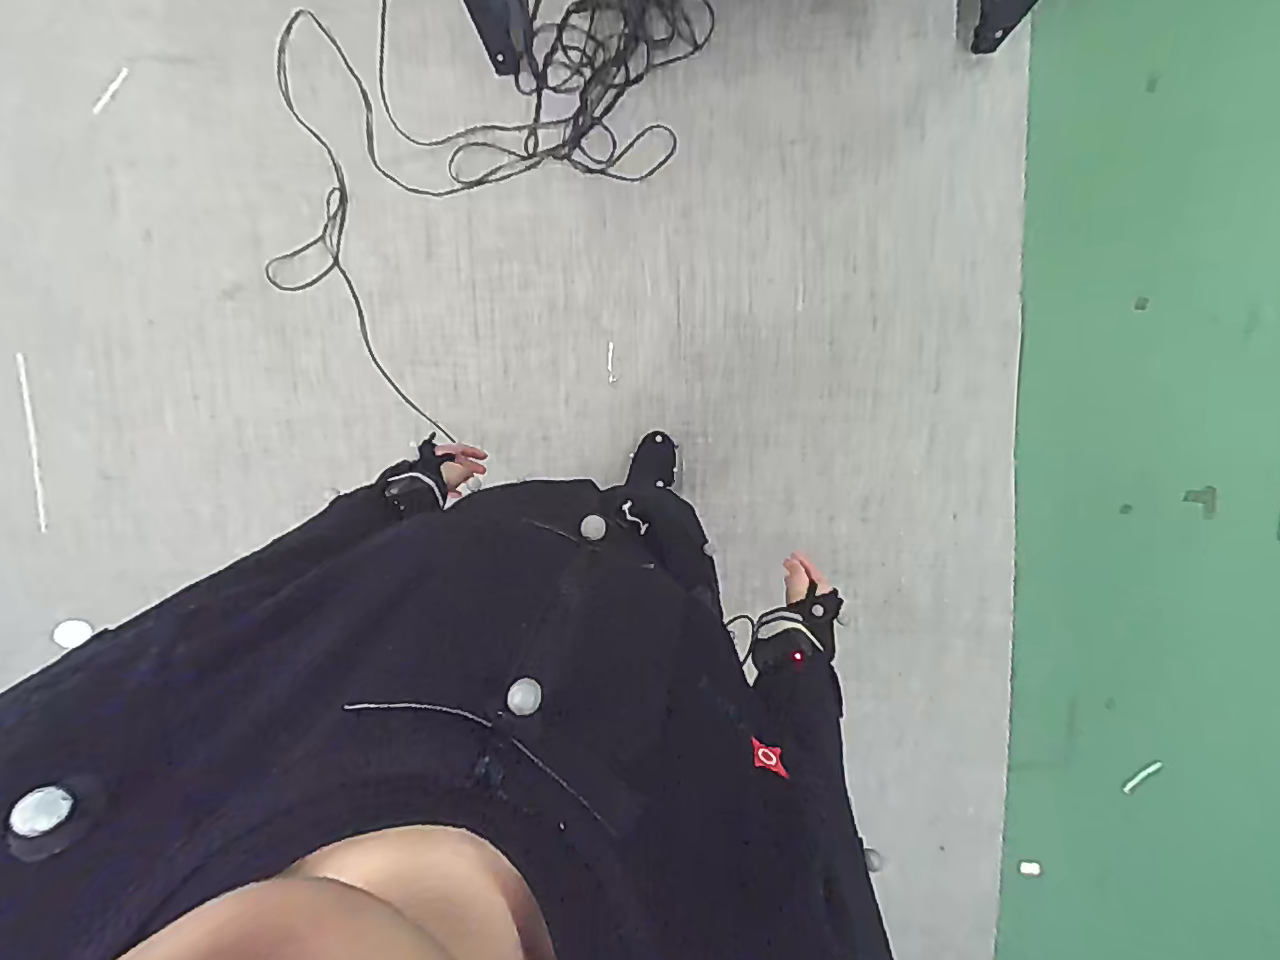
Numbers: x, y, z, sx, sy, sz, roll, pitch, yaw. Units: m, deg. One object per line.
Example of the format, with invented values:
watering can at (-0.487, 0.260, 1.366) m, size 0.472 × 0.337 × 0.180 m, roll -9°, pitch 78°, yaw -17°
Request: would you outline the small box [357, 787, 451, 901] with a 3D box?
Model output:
small box at (-0.592, 0.911, 1.370) m, size 0.168 × 0.176 × 0.179 m, roll 3°, pitch 95°, yaw 3°
